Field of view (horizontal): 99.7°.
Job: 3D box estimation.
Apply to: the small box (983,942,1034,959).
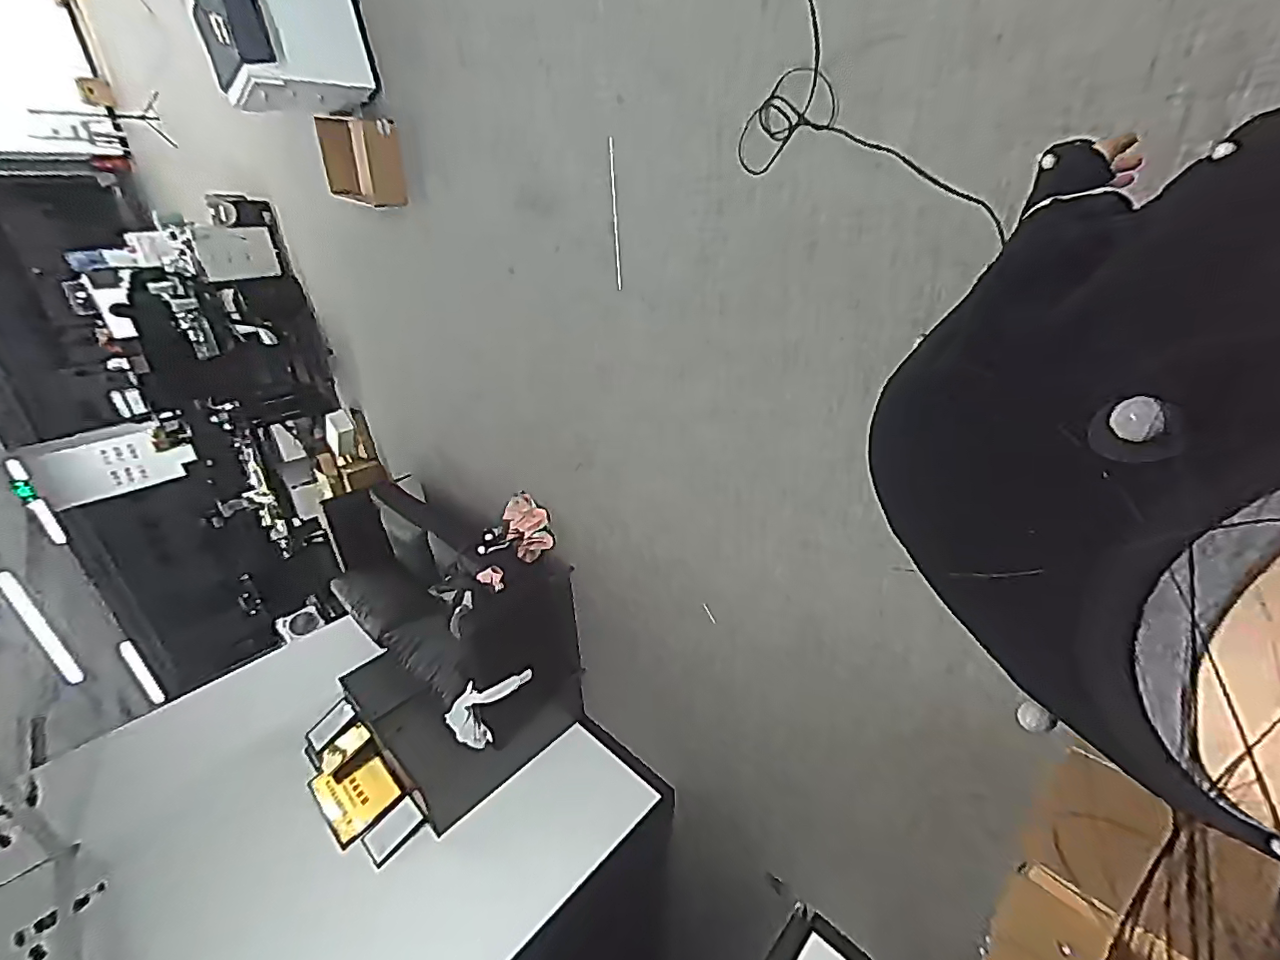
[{"bbox_3d":[0.744,1.058,1.049,0.179,0.176,0.168,24,126,38],"label":"small box"}]
